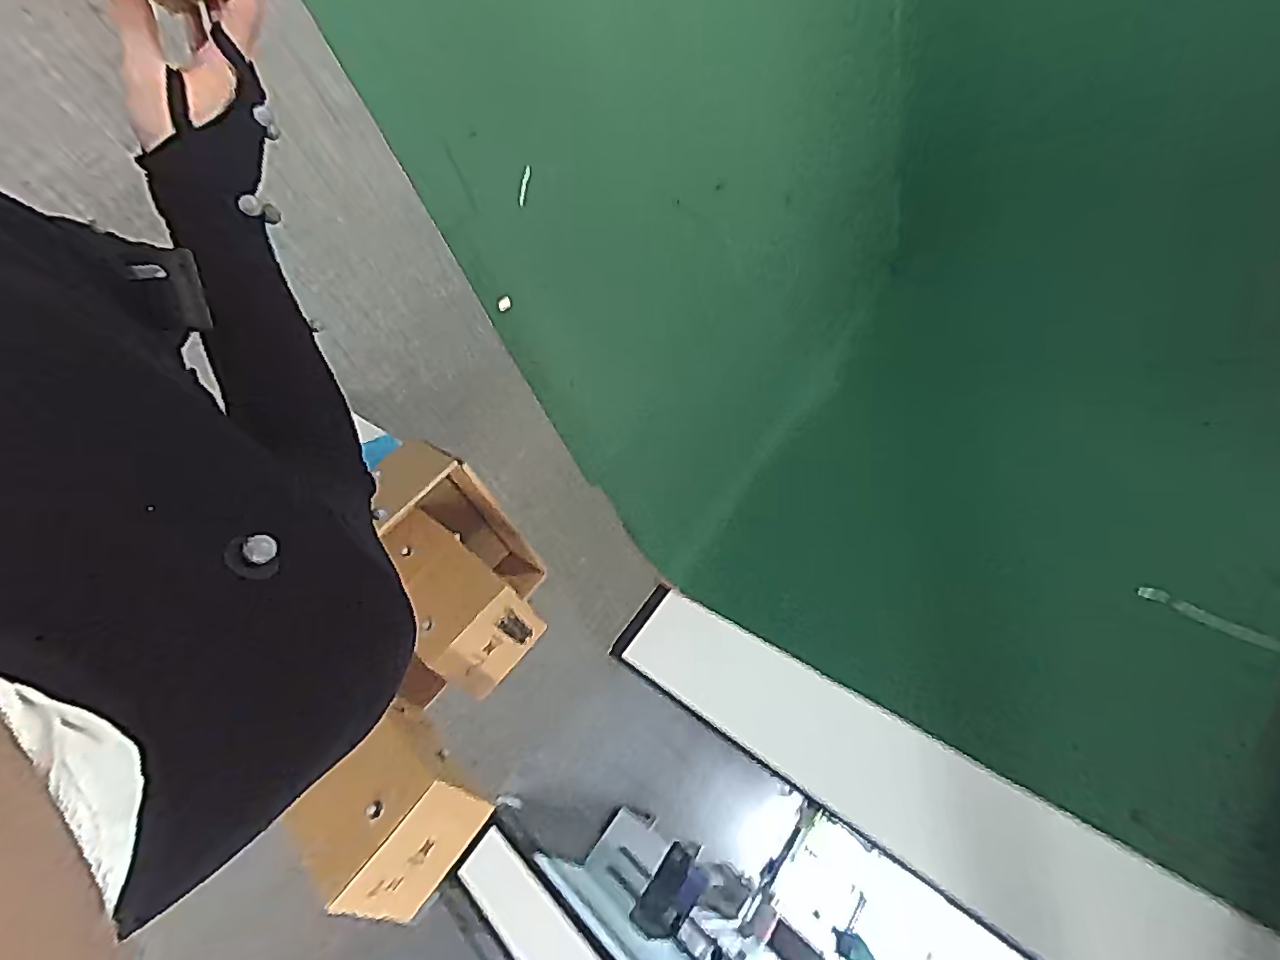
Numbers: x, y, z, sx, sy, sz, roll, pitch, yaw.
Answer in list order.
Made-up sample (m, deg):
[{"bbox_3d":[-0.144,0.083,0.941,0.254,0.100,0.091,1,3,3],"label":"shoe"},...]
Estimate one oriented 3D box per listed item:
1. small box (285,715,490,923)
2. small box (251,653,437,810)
[{"bbox_3d":[-0.358,0.474,0.773,0.179,0.176,0.168,-47,138,-23],"label":"small box"},{"bbox_3d":[-0.476,0.412,0.872,0.179,0.176,0.168,-49,139,-22],"label":"small box"}]
